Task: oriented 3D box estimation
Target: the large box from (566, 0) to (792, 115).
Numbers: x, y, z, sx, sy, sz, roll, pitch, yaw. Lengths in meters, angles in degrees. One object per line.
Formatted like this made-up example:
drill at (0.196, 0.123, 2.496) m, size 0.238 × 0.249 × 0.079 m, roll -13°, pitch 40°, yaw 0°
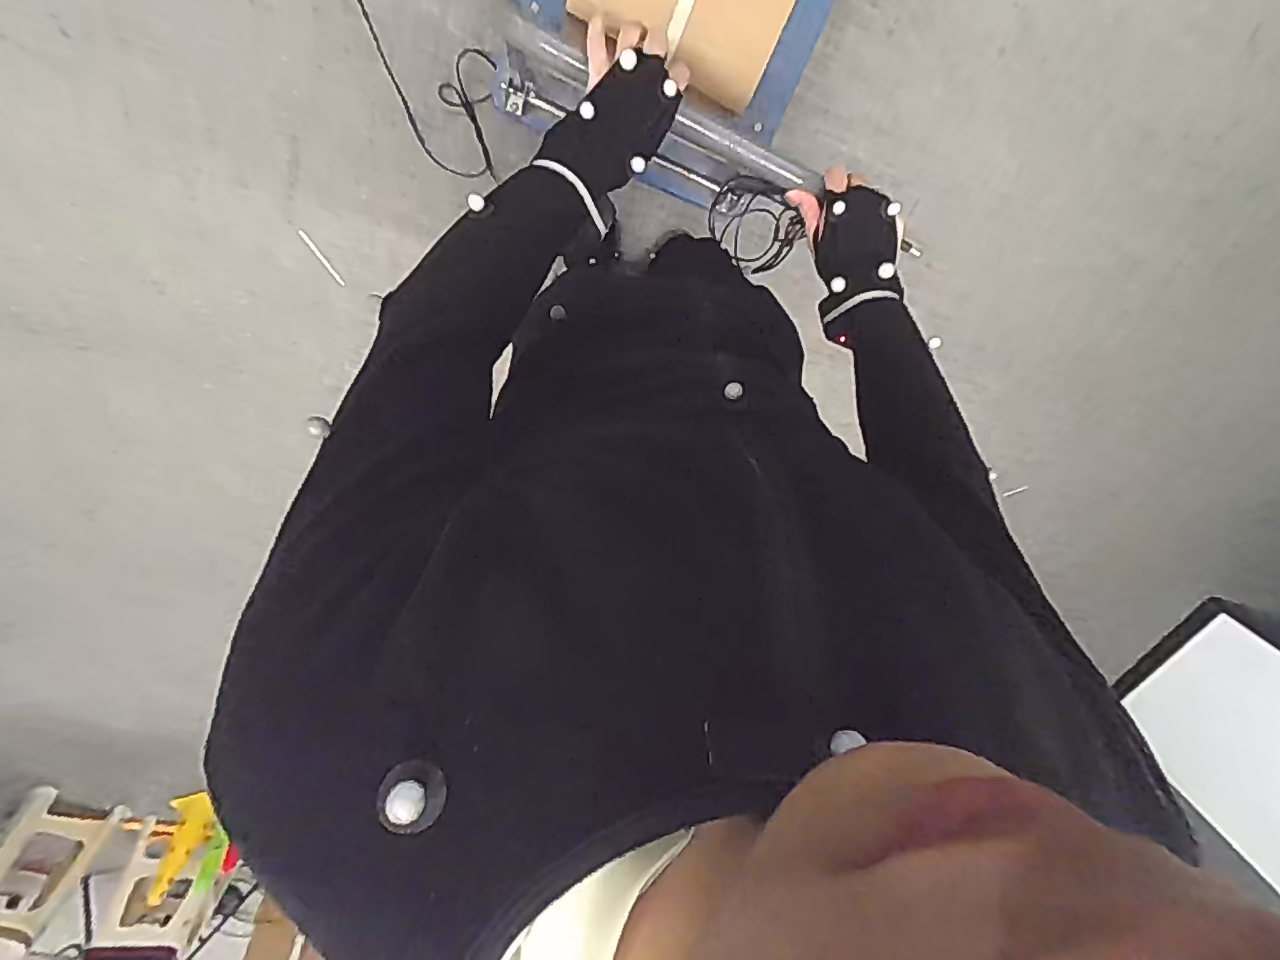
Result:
large box at (0.089, -0.880, 0.865) m, size 0.320 × 0.320 × 0.408 m, roll 17°, pitch 117°, yaw -20°
